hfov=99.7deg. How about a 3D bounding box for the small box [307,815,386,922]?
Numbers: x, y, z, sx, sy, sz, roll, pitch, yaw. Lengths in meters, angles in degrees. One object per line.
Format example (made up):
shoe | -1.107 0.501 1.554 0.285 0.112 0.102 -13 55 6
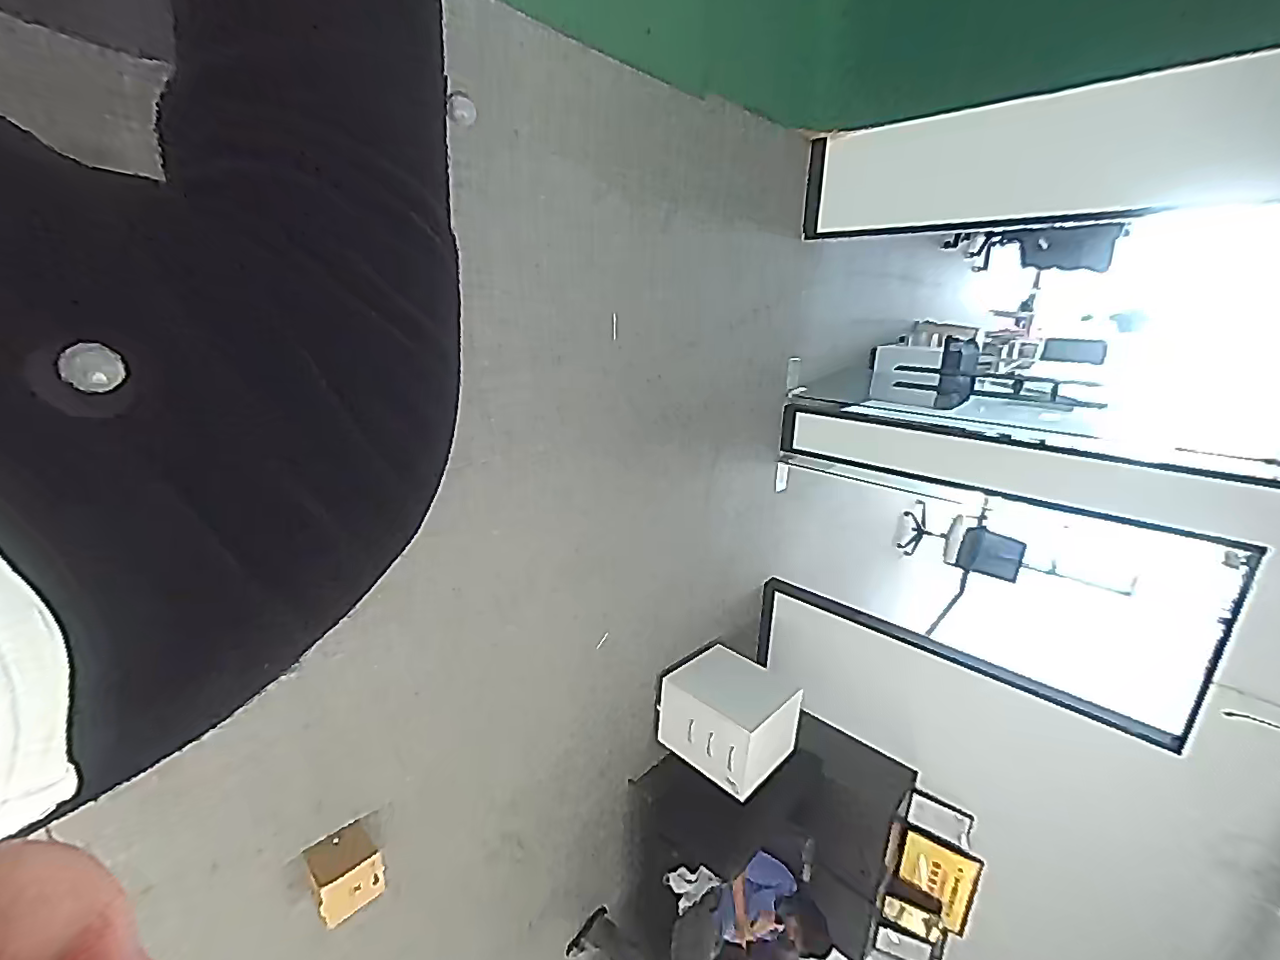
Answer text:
small box | -0.935 1.222 1.714 0.179 0.176 0.168 -15 115 -45
